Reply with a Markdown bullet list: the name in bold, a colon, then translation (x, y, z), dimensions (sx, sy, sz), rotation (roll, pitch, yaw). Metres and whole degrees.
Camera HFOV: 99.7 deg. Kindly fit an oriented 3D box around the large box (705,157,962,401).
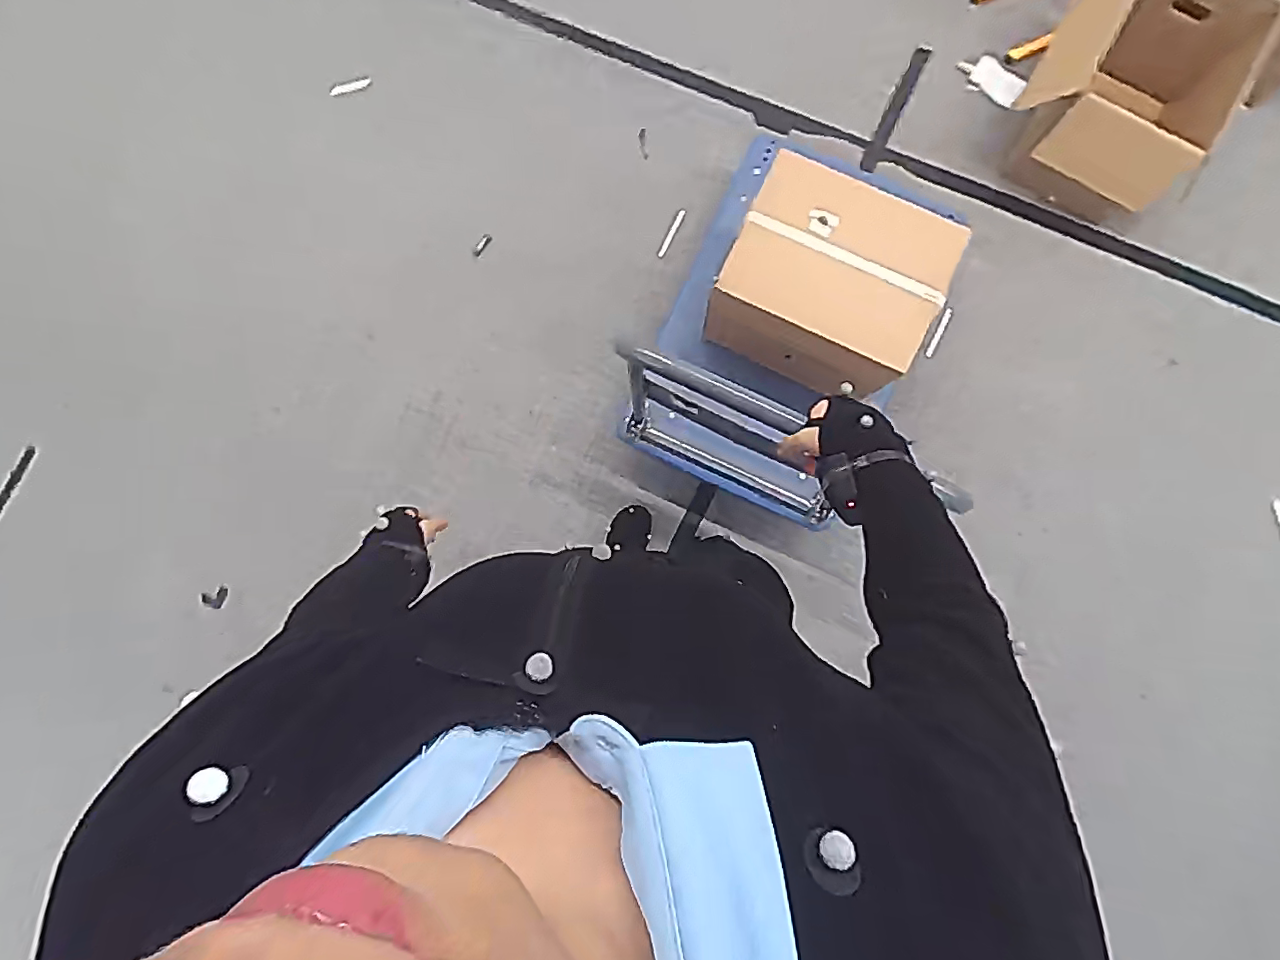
- **large box**: translation (0.395, -0.418, 1.207), dimensions (0.408, 0.320, 0.320), rotation (26, 87, 5)
